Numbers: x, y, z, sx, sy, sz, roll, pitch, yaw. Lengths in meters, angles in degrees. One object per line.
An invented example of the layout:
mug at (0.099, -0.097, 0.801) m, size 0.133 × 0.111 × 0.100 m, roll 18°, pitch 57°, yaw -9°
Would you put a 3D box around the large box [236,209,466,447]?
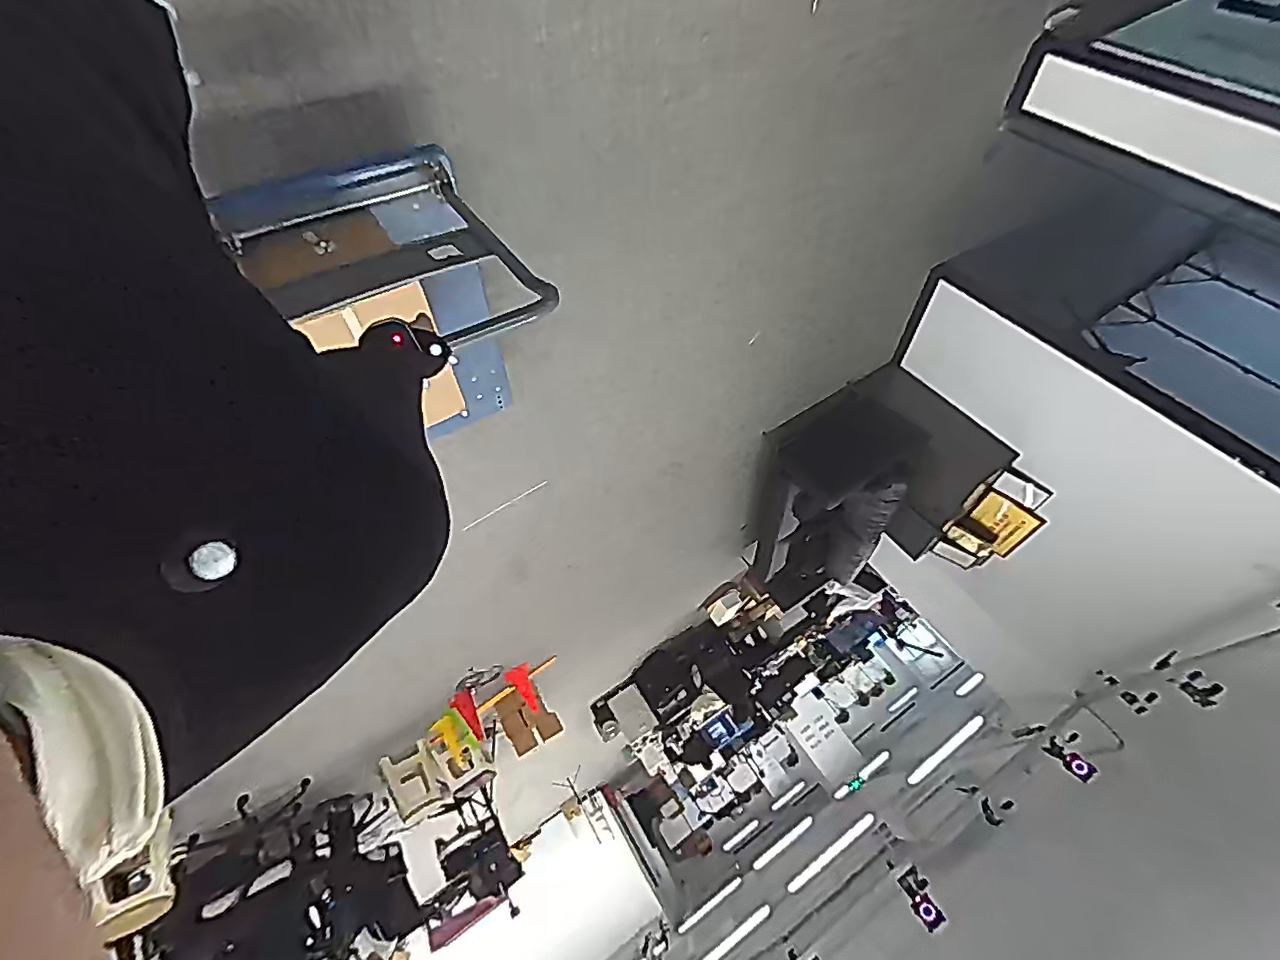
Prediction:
large box at (-0.679, -0.363, 1.320) m, size 0.320 × 0.320 × 0.408 m, roll -28°, pitch 150°, yaw -18°
